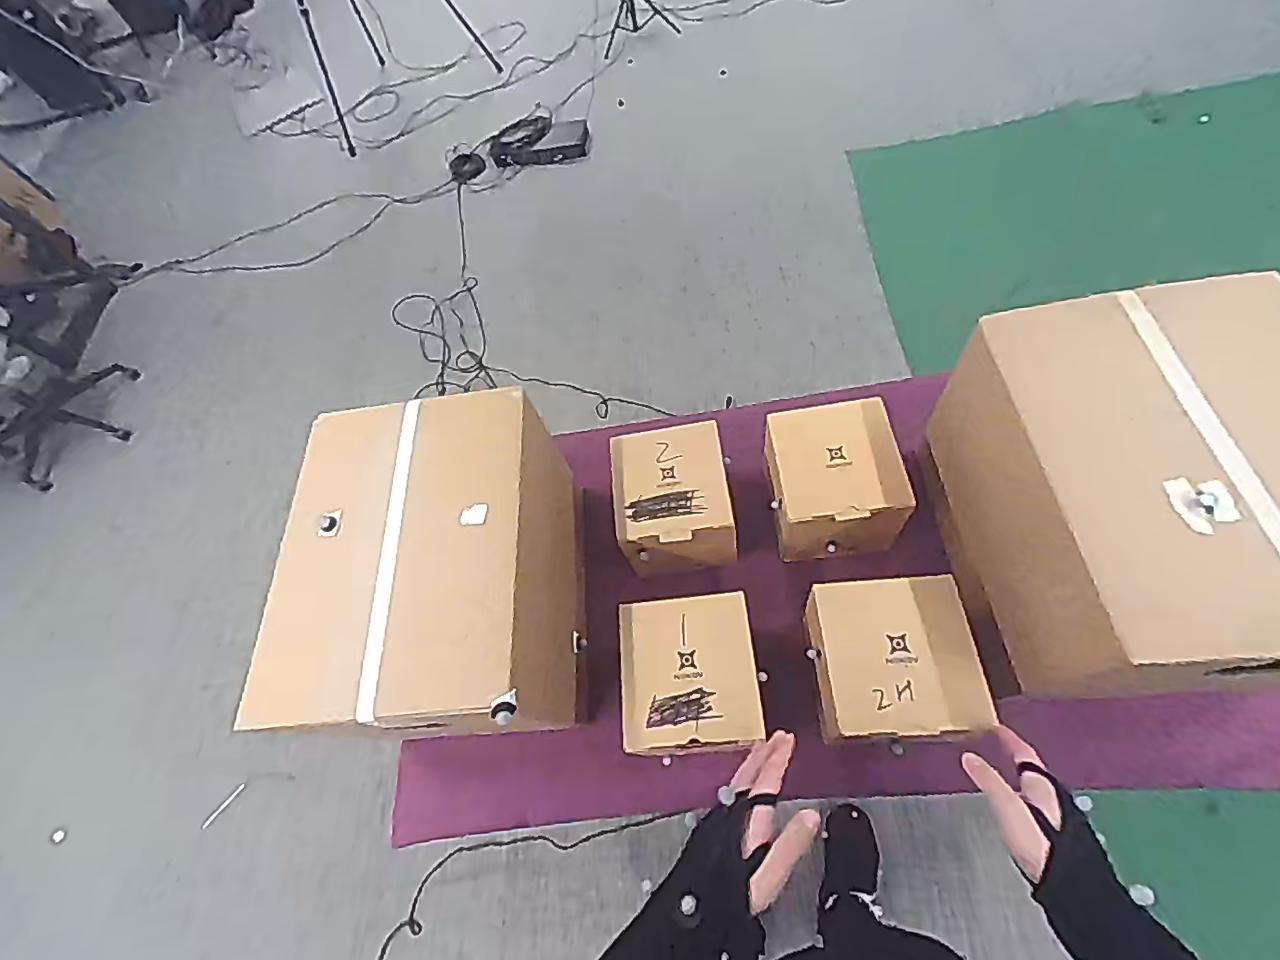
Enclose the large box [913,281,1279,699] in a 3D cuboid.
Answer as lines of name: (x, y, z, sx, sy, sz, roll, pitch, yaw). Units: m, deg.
large box: (0.588, 0.034, 0.665, 0.320, 0.320, 0.408, -7, 62, 8)
